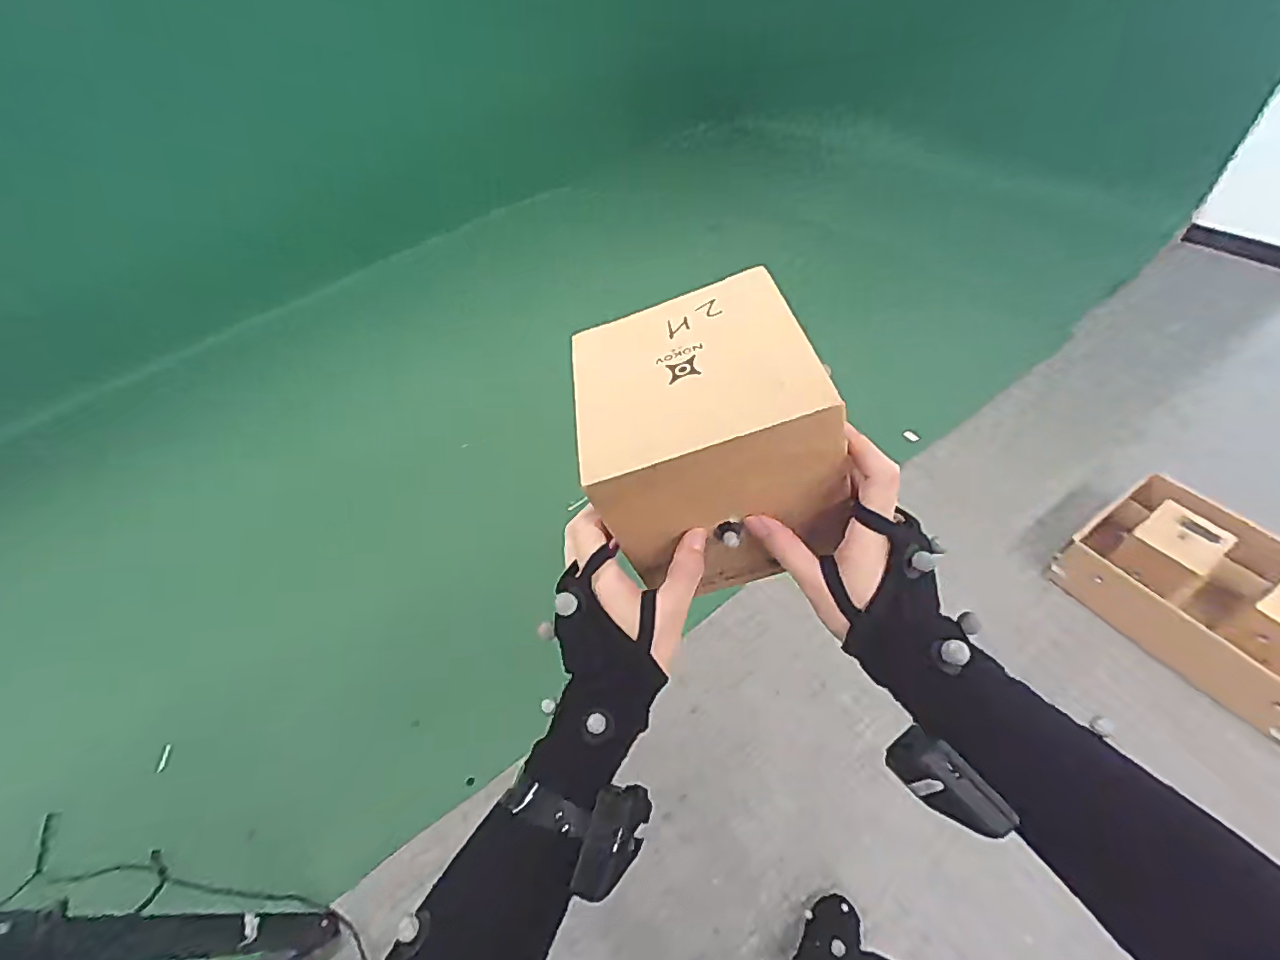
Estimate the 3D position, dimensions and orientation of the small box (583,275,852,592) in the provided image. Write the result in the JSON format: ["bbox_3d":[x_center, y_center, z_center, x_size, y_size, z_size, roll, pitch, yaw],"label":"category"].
[{"bbox_3d":[0.063,-0.027,0.441,0.168,0.176,0.179,-17,47,10],"label":"small box"}]

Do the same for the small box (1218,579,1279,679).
[{"bbox_3d":[1.603,0.364,1.330,0.179,0.176,0.168,-31,52,-14],"label":"small box"}]
